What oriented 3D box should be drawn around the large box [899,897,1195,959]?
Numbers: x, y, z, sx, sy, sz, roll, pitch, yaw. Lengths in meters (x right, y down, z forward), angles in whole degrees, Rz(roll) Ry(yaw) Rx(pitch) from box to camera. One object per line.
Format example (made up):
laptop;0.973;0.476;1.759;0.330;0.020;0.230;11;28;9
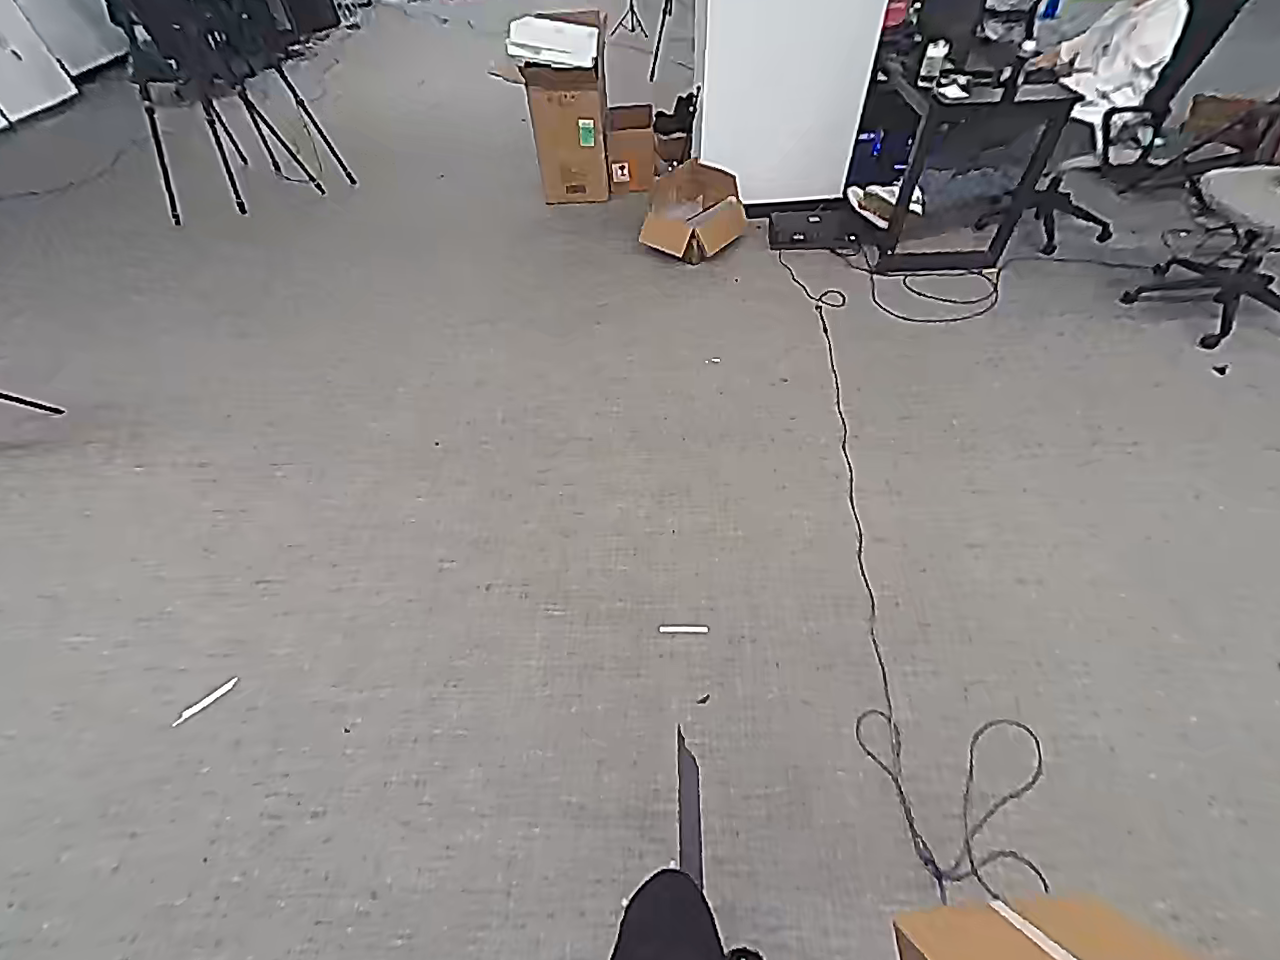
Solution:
large box;0.551;0.740;0.589;0.320;0.408;0.320;-6;76;-2
